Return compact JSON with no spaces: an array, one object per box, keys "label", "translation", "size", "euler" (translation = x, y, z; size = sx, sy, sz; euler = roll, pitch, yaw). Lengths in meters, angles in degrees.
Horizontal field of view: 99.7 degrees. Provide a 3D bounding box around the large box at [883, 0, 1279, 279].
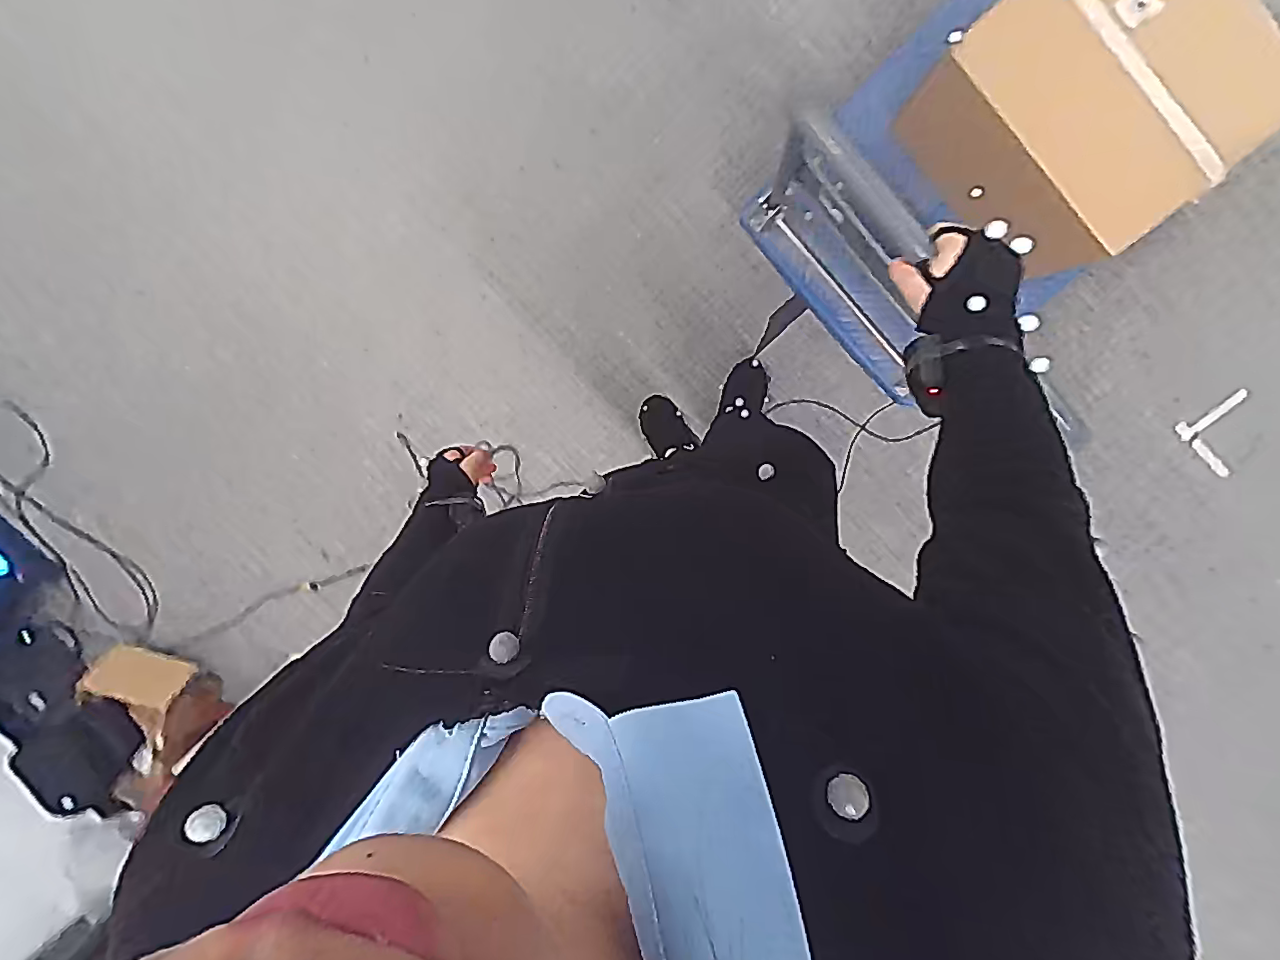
[{"label":"large box","translation":[0.713,-0.626,0.943],"size":[0.320,0.320,0.408],"euler":[-41,93,14]}]
